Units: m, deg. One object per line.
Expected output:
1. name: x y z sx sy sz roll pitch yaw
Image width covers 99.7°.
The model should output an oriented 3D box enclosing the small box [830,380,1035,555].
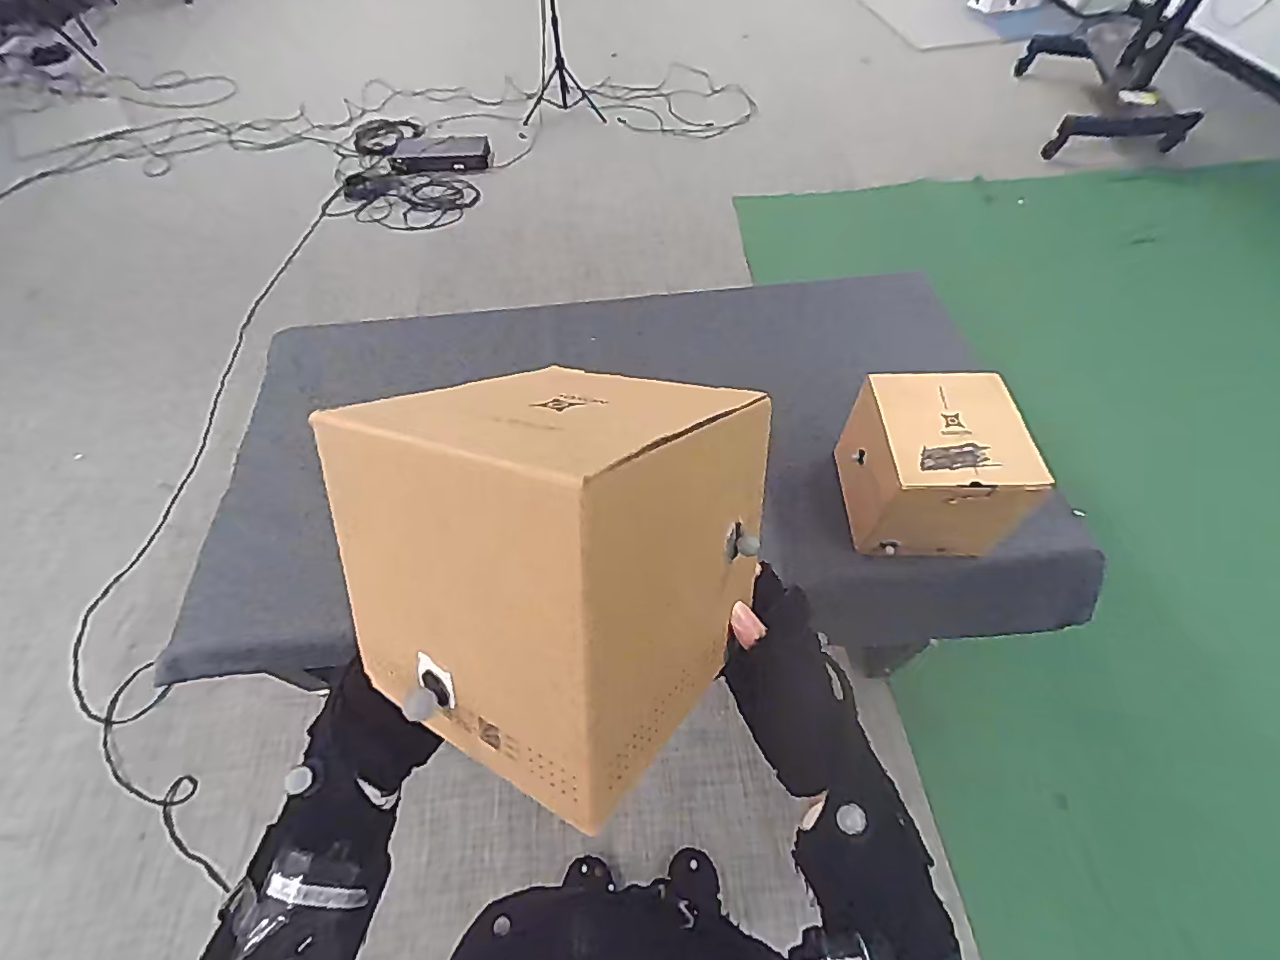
1. small box: 0.365 -0.011 0.717 0.168 0.176 0.179 1 55 2

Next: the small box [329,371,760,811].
1. small box: -0.042 0.040 0.322 0.168 0.176 0.179 12 25 29
